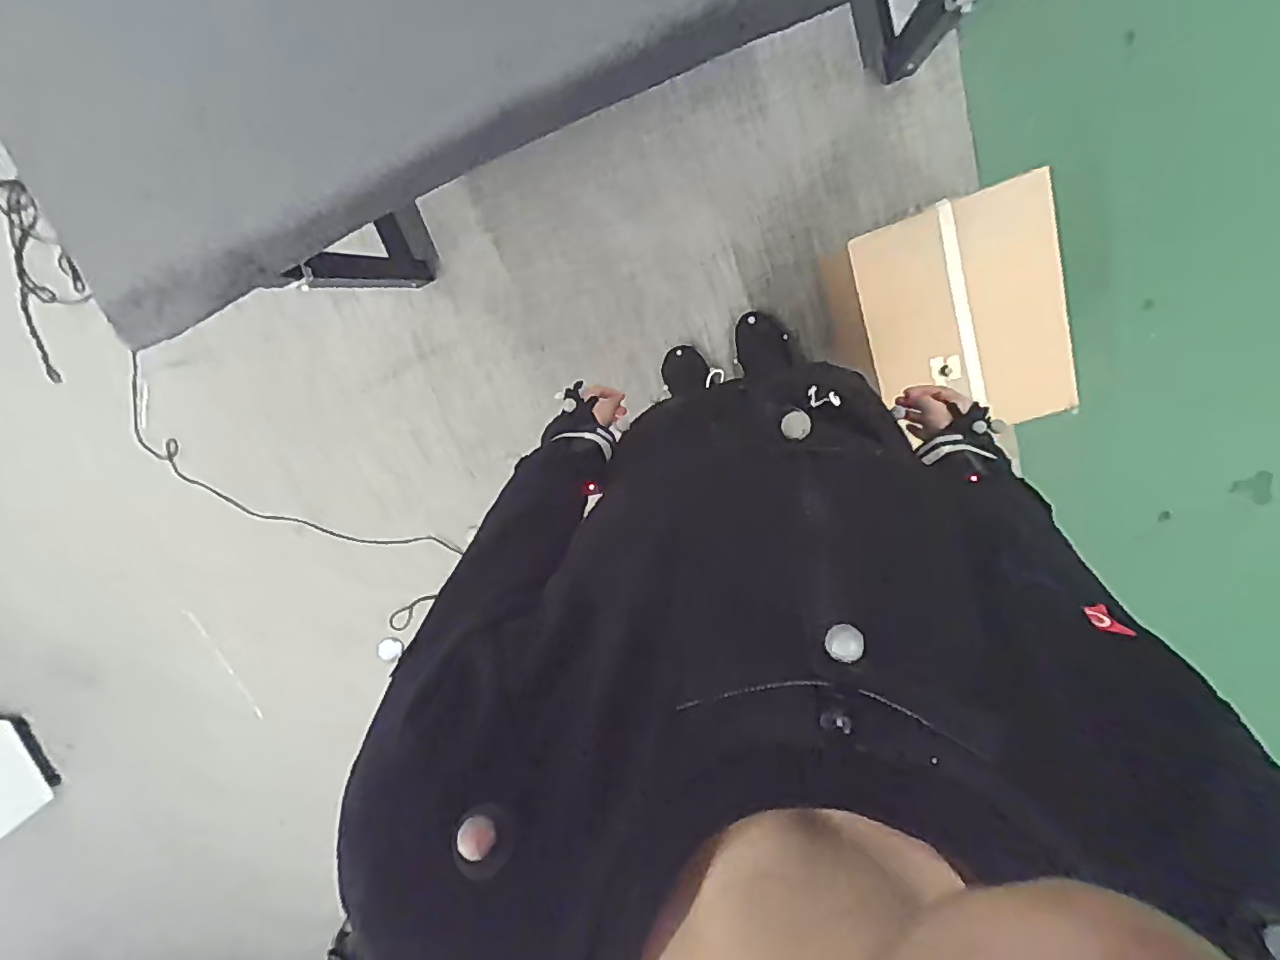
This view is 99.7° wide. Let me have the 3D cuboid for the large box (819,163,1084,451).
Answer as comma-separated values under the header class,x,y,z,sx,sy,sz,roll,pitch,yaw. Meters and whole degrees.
class,x,y,z,sx,sy,sz,roll,pitch,yaw
large box,0.582,-0.324,1.064,0.320,0.320,0.408,-17,106,14
